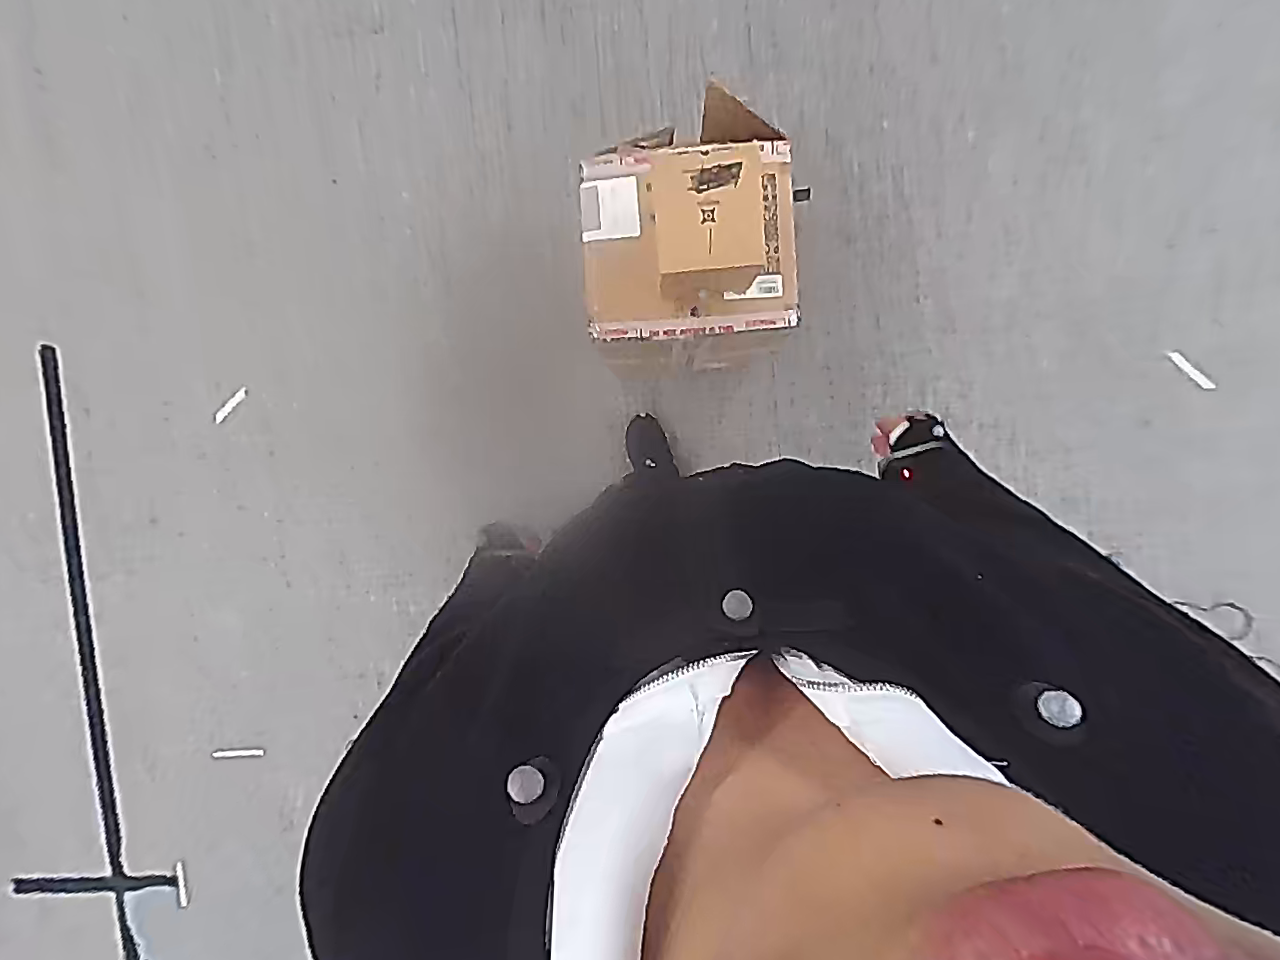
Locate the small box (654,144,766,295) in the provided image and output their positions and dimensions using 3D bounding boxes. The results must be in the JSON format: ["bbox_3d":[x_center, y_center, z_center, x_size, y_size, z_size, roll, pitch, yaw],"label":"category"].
[{"bbox_3d":[0.109,-0.421,0.900,0.168,0.176,0.179,-4,96,3],"label":"small box"}]
